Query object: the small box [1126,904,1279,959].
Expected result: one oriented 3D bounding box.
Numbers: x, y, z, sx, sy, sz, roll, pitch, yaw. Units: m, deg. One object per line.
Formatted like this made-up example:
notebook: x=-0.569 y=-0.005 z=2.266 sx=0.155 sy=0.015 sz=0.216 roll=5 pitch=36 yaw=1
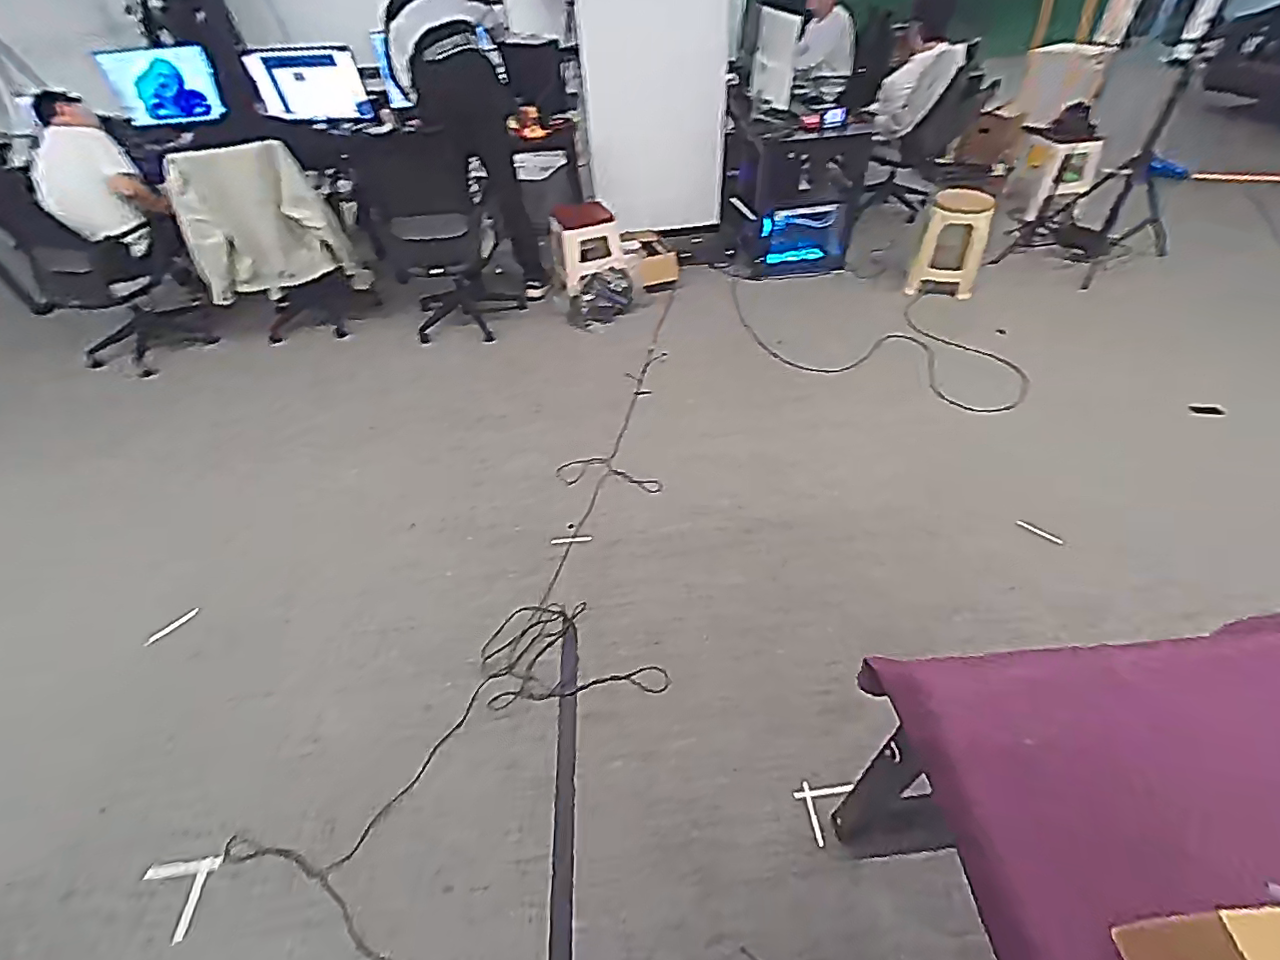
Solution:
small box: x=0.587 y=0.485 z=0.472 sx=0.179 sy=0.176 sz=0.168 roll=-3 pitch=45 yaw=-1
